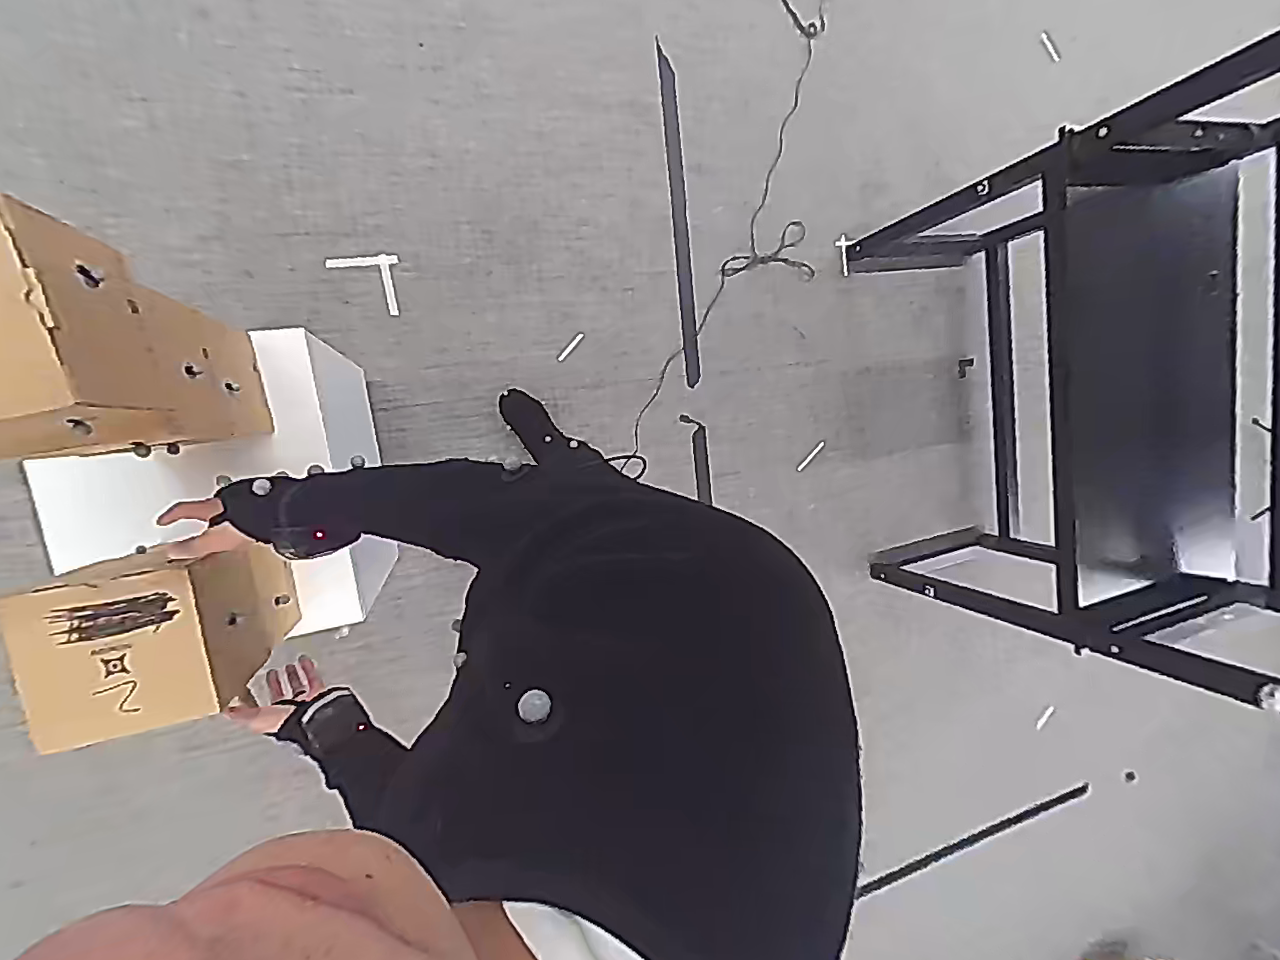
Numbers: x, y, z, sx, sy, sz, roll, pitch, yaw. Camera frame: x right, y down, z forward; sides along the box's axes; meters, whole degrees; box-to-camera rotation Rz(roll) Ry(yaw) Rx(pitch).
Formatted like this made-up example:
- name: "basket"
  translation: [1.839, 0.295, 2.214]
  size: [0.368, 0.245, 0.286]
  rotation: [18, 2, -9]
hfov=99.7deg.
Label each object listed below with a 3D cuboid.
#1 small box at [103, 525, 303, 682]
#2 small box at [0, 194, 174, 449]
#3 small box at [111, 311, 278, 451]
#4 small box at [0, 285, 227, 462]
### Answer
- name: "small box"
  translation: [-0.629, 0.170, 0.809]
  size: [0.179, 0.176, 0.168]
  rotation: [-9, 97, -16]
- name: "small box"
  translation: [-0.548, -0.120, 0.460]
  size: [0.179, 0.176, 0.168]
  rotation: [-16, 100, -15]
- name: "small box"
  translation: [-0.657, -0.134, 0.769]
  size: [0.179, 0.176, 0.168]
  rotation: [-12, 99, -16]
- name: "small box"
  translation: [-0.607, -0.119, 0.613]
  size: [0.179, 0.176, 0.168]
  rotation: [-11, 99, -16]
